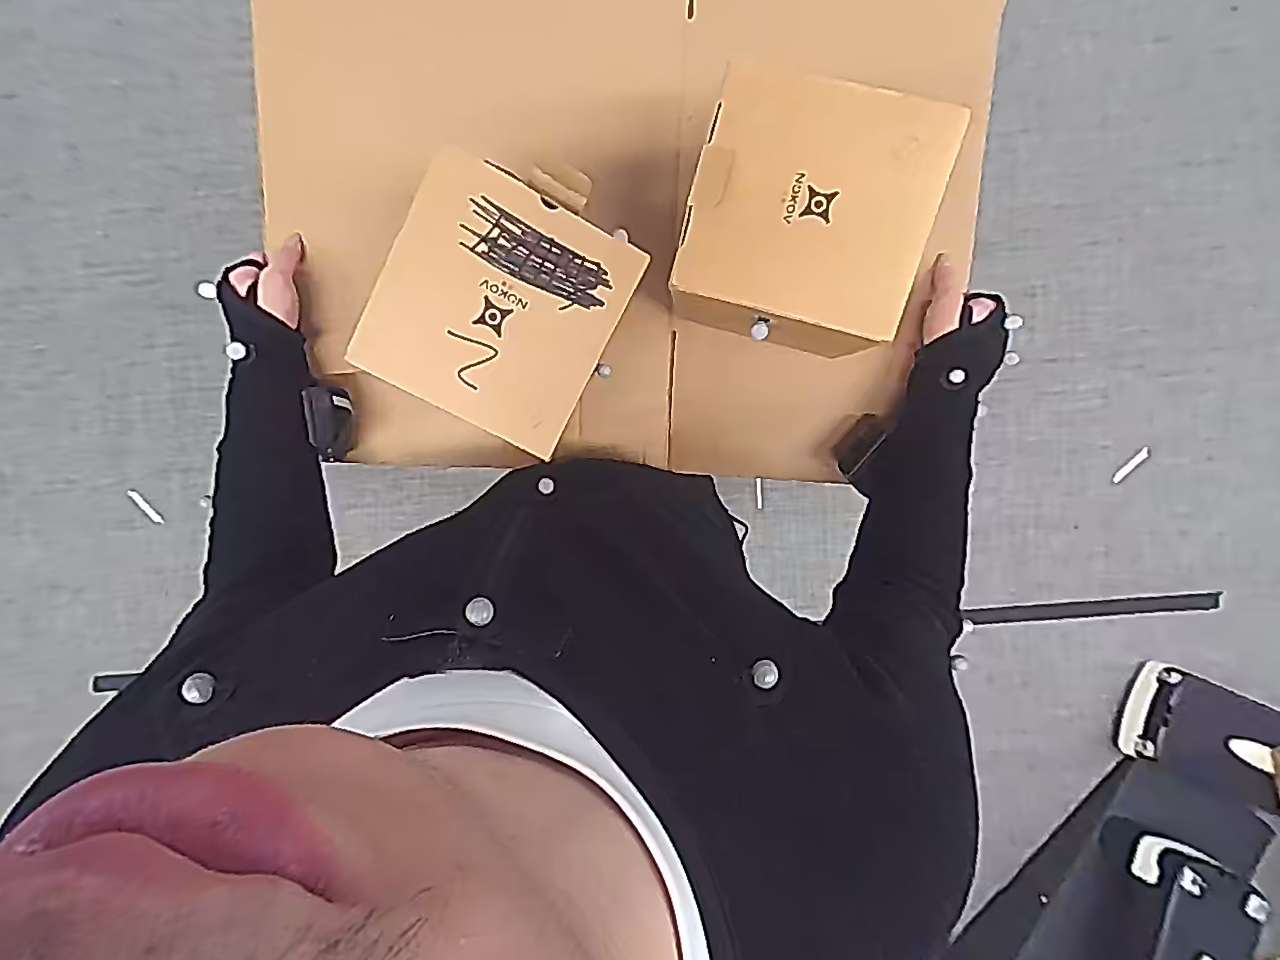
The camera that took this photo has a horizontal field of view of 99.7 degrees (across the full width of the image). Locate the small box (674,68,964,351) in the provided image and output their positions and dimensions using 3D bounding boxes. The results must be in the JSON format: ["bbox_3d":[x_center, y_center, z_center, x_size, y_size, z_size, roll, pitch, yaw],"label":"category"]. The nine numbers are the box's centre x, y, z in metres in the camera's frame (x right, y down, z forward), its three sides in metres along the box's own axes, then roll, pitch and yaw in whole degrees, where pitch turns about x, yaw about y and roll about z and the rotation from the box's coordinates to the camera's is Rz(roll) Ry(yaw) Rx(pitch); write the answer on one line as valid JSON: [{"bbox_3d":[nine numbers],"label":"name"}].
[{"bbox_3d":[0.141,-0.219,0.488,0.179,0.176,0.168,16,100,5],"label":"small box"}]
